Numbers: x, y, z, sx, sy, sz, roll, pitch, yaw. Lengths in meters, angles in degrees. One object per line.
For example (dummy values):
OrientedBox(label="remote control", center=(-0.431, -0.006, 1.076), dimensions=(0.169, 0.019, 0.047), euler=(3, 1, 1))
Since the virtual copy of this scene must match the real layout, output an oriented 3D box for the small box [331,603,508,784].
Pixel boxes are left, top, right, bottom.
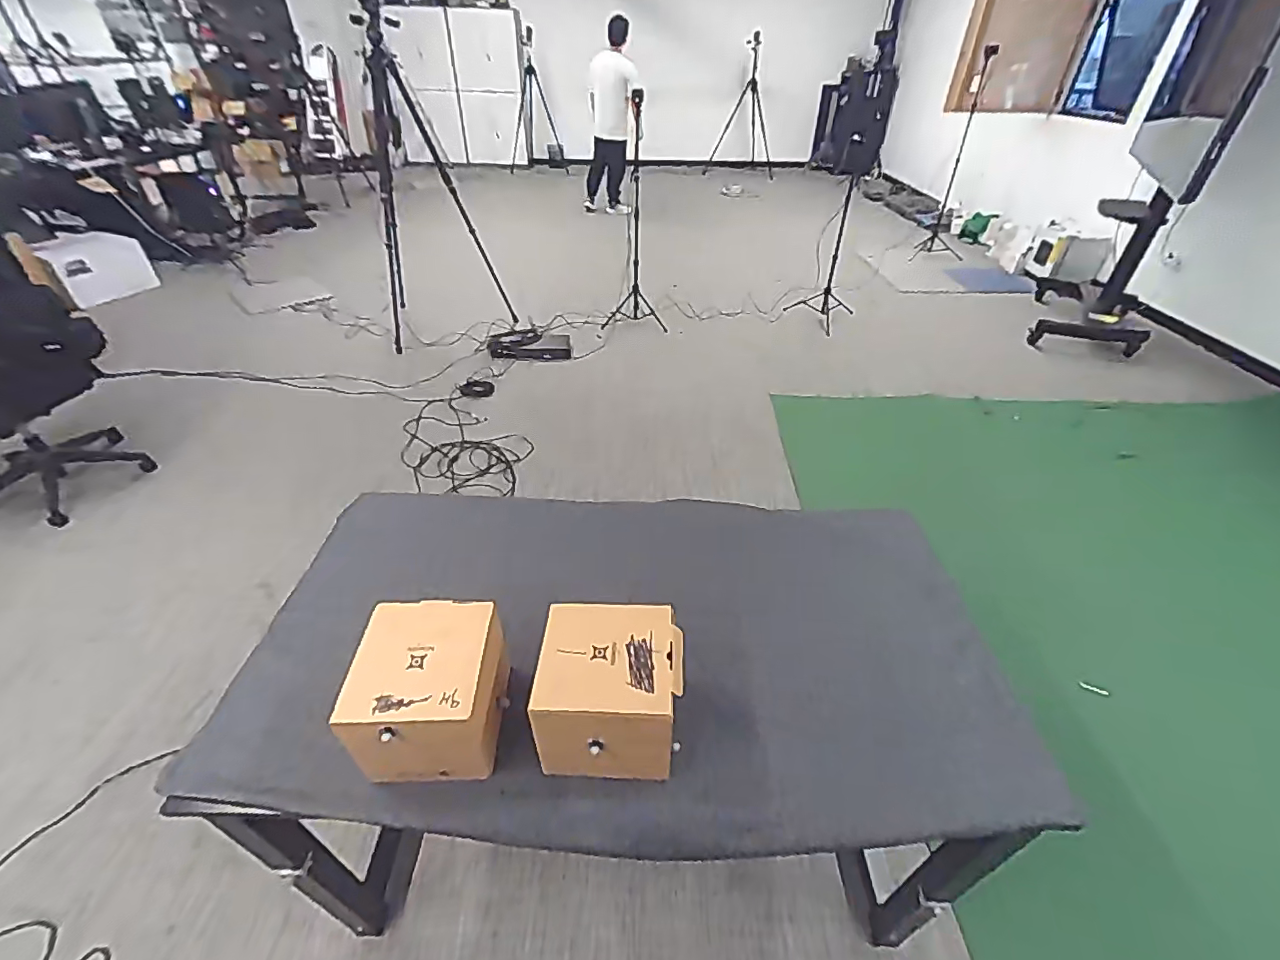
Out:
OrientedBox(label="small box", center=(-0.284, 0.292, 0.747), dimensions=(0.168, 0.176, 0.179), euler=(-1, 38, -1))
